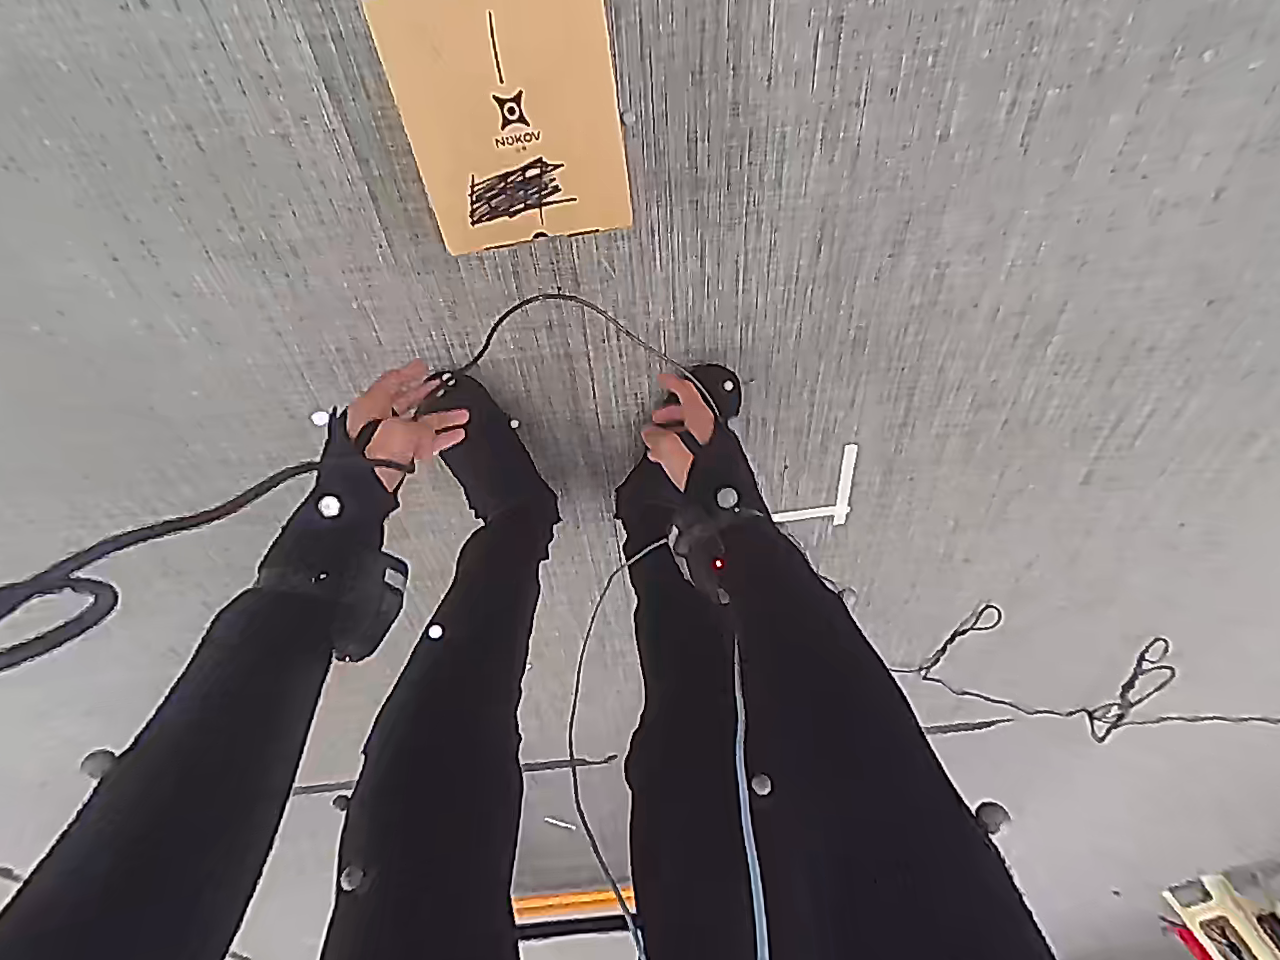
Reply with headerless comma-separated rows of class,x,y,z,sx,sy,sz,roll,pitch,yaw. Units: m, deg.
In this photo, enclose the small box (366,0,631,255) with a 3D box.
small box,-0.101,-0.323,0.478,0.168,0.176,0.179,-8,129,2
